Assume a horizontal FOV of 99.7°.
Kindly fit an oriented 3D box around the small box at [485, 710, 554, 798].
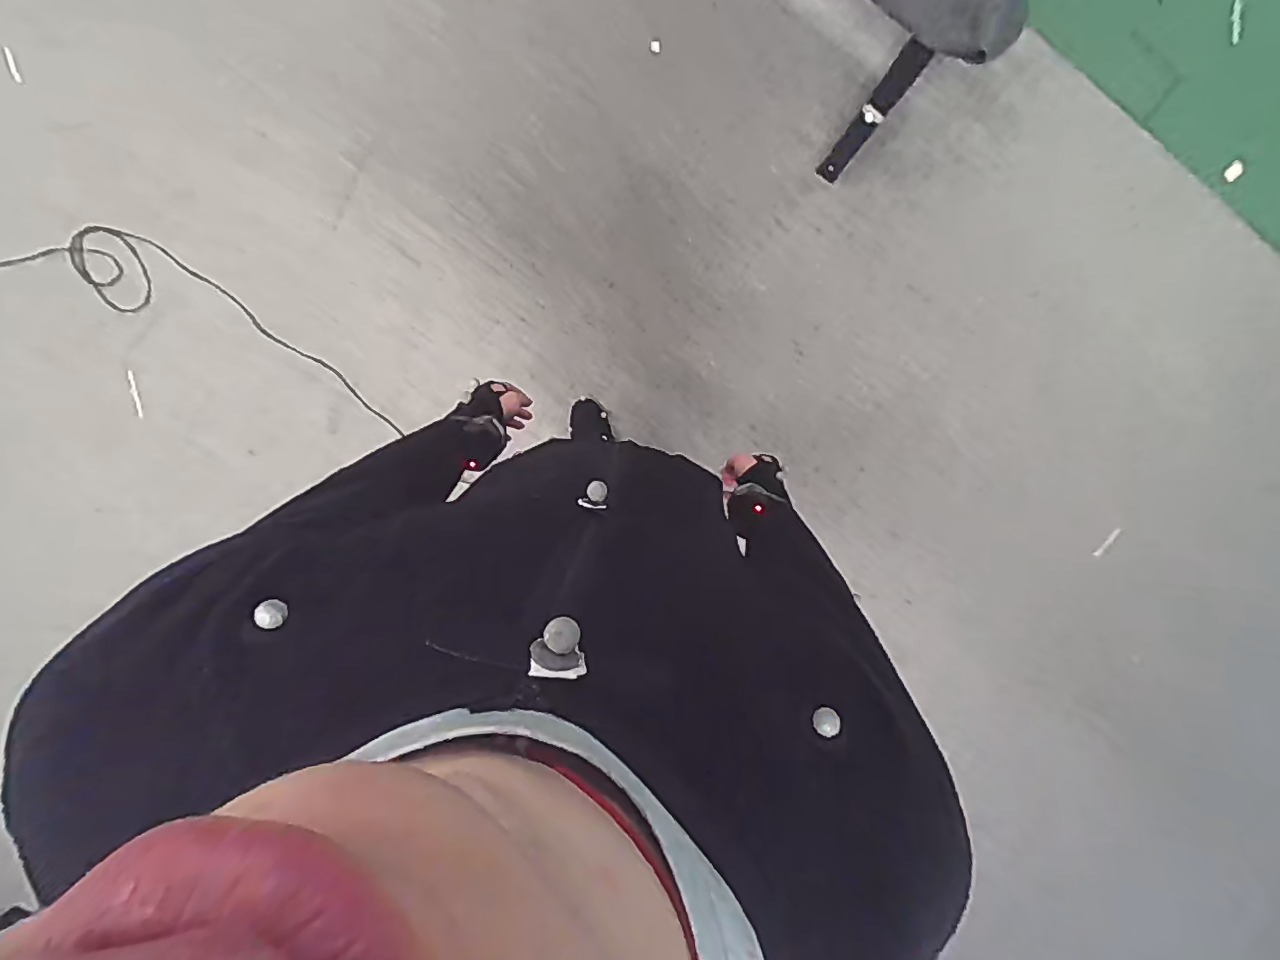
[{"bbox_3d":[-0.347,0.794,1.580,0.168,0.176,0.179,0,99,1],"label":"small box"}]
